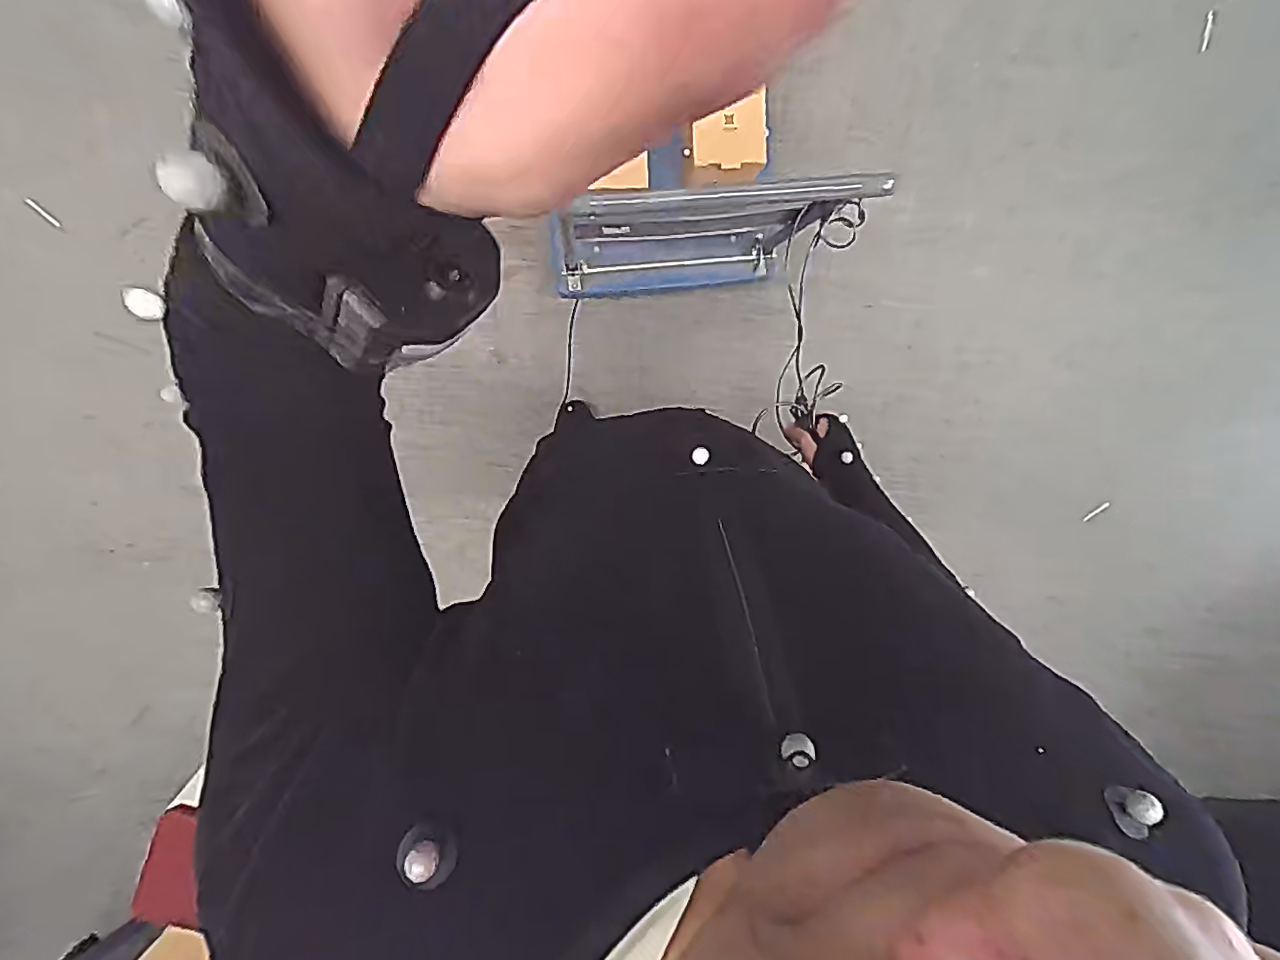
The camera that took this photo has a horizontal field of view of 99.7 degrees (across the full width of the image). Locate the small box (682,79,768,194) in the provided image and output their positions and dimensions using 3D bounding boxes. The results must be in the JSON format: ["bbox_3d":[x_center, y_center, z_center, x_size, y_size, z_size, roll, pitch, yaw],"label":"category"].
[{"bbox_3d":[0.192,-0.791,1.258,0.168,0.176,0.179,-4,100,-3],"label":"small box"}]
